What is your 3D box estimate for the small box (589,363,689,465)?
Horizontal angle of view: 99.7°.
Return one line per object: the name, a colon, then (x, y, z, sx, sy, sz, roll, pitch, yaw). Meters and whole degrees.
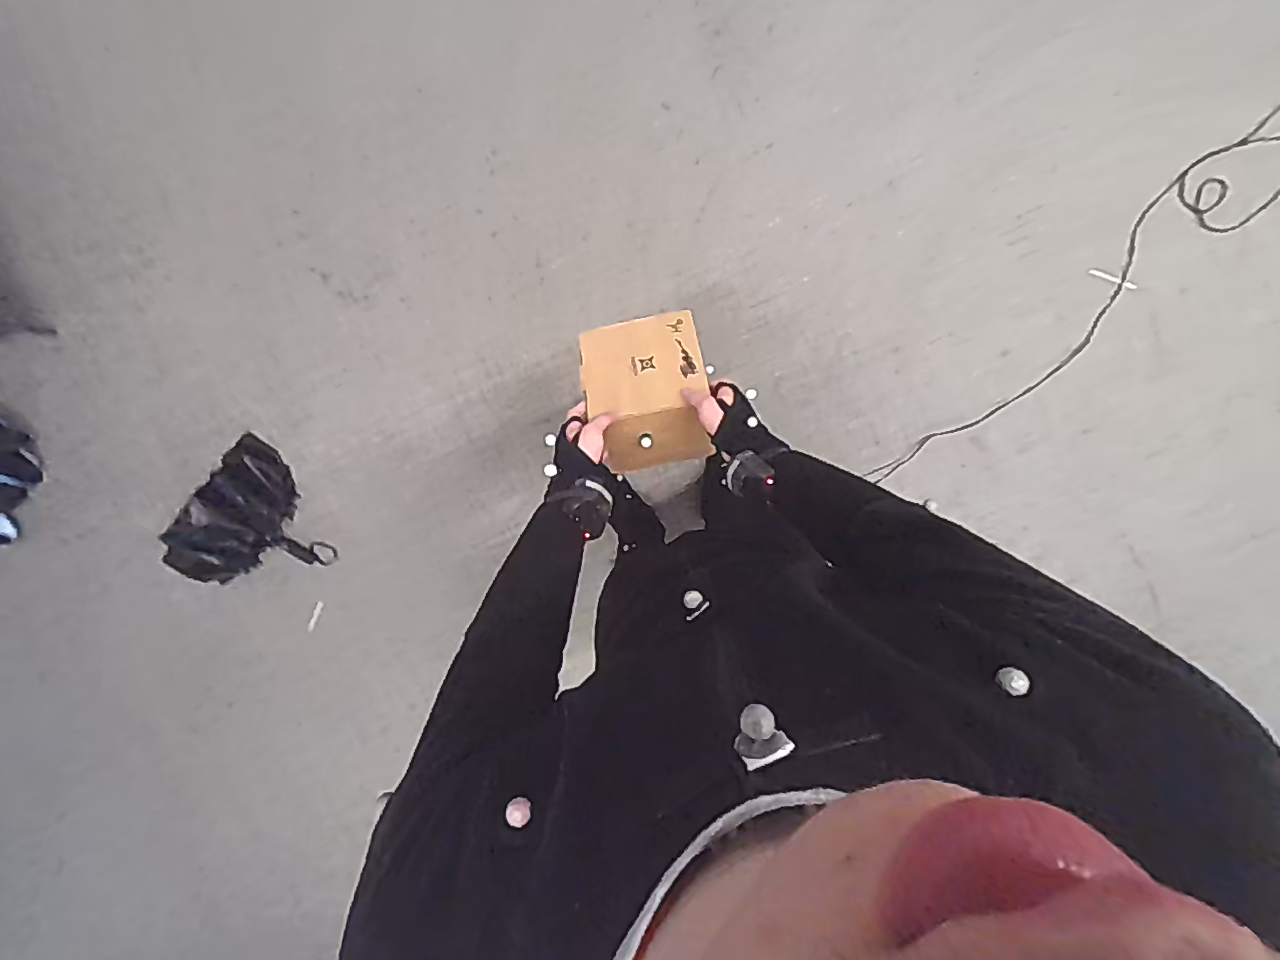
small box: (-0.003, -0.154, 1.264, 0.168, 0.176, 0.179, -29, 98, 5)
